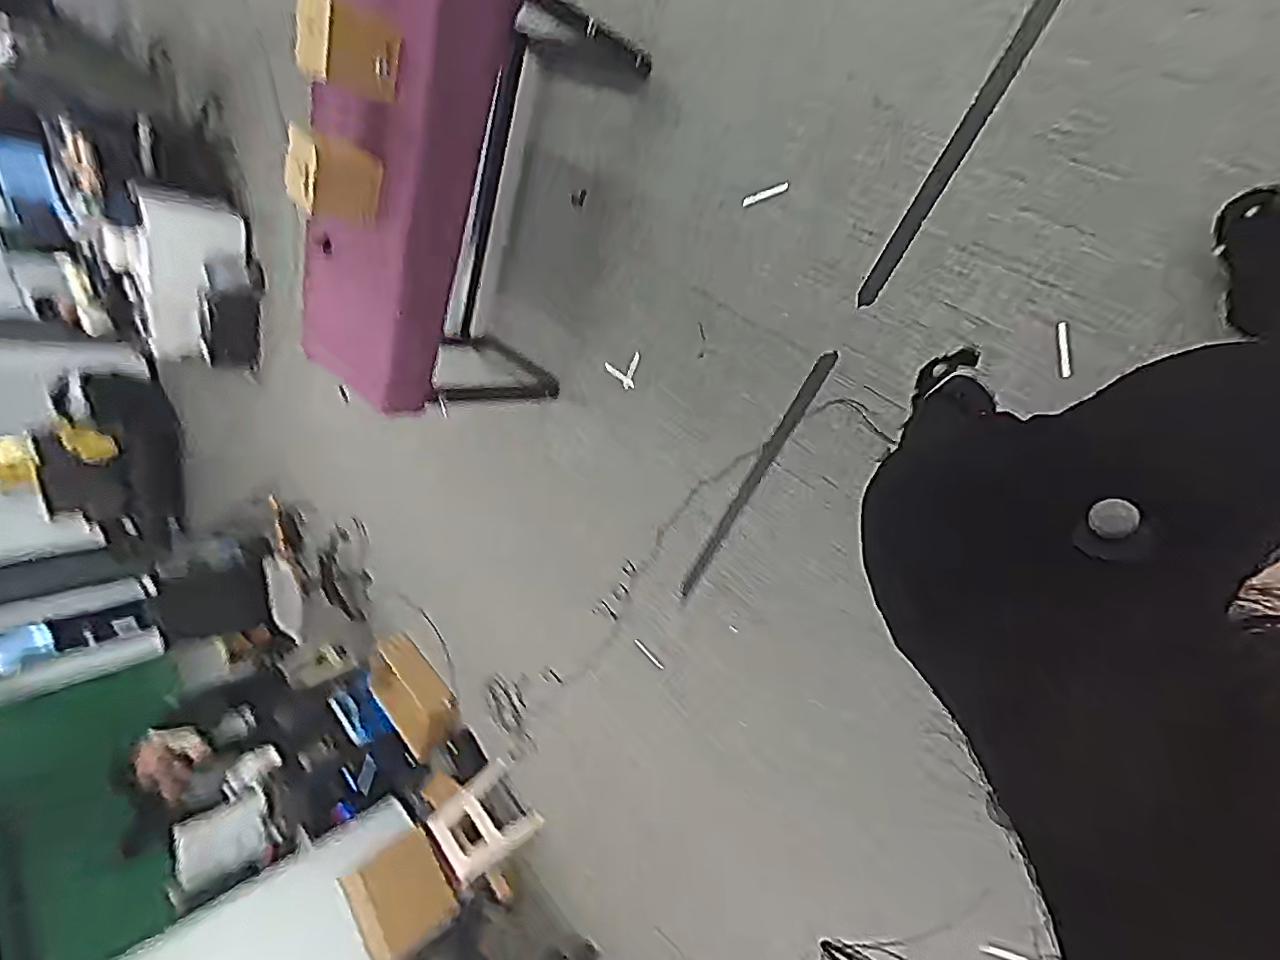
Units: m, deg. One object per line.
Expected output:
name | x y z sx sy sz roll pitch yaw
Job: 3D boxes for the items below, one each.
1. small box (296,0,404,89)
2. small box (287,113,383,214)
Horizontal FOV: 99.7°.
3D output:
small box | -0.695 -1.072 1.294 0.179 0.176 0.168 39 123 26
small box | -0.810 -0.832 1.437 0.179 0.176 0.168 45 124 25
